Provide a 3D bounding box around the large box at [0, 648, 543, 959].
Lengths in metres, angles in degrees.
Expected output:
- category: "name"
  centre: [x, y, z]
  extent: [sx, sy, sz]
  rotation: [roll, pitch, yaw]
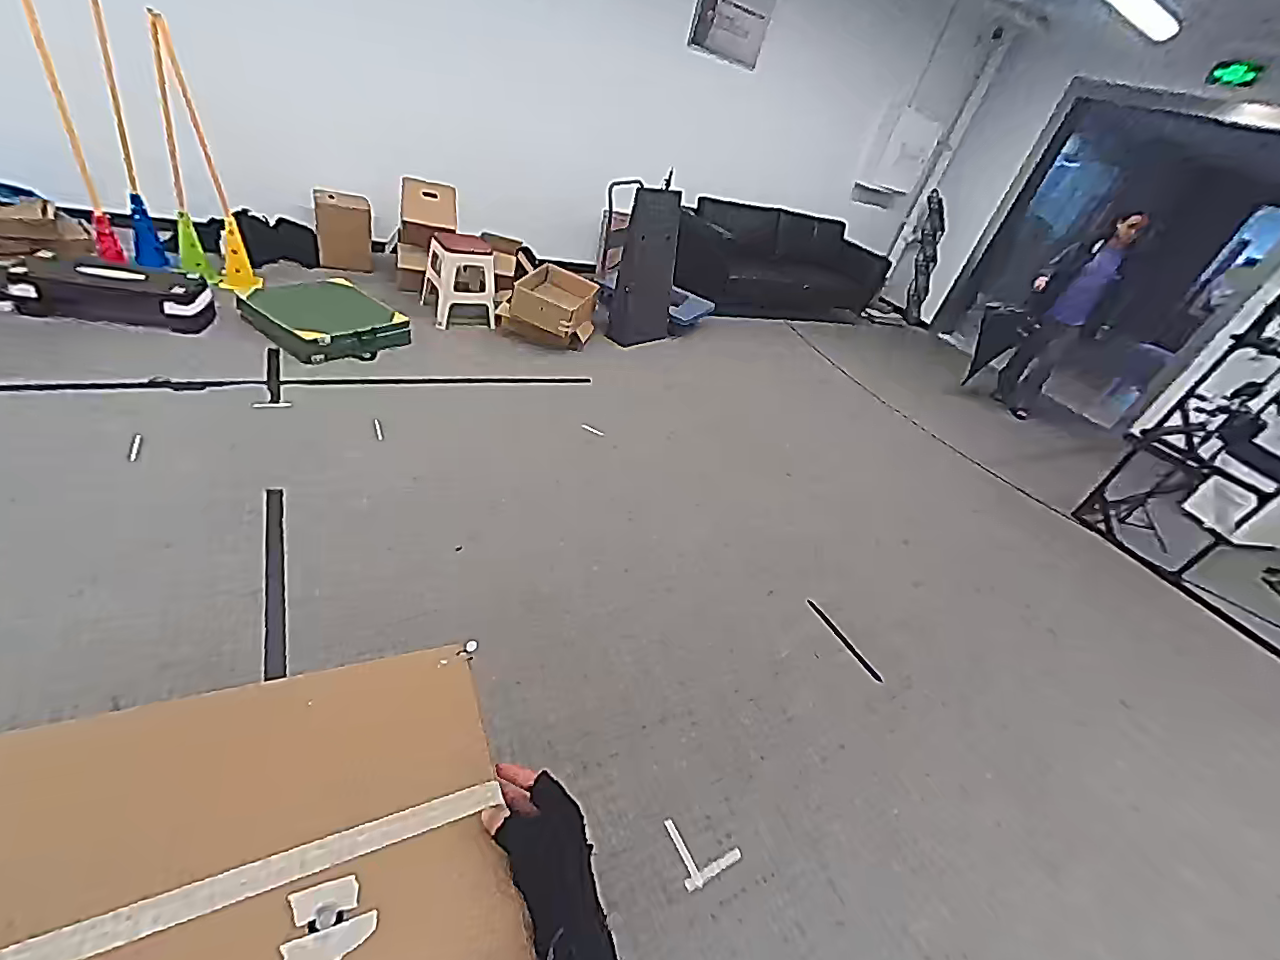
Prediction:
- category: "large box"
  centre: [-0.349, 0.408, 0.486]
  extent: [0.408, 0.320, 0.320]
  rotation: [-3, 46, -31]
